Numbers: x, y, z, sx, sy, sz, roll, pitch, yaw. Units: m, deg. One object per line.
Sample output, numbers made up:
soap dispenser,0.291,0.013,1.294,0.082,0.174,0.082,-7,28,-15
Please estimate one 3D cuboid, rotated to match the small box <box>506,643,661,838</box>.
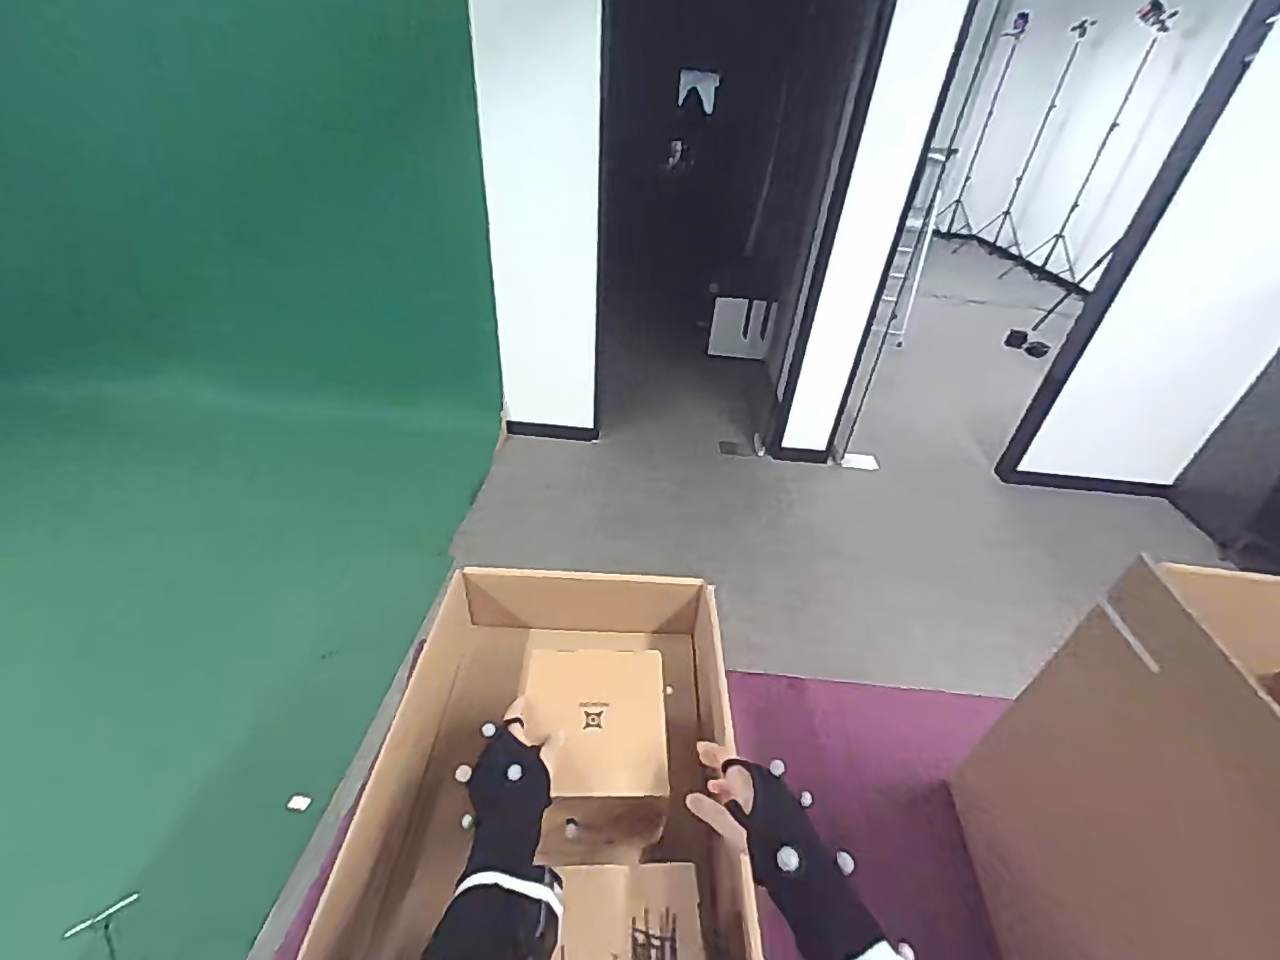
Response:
small box,-0.061,0.326,0.675,0.168,0.176,0.179,1,39,-3
